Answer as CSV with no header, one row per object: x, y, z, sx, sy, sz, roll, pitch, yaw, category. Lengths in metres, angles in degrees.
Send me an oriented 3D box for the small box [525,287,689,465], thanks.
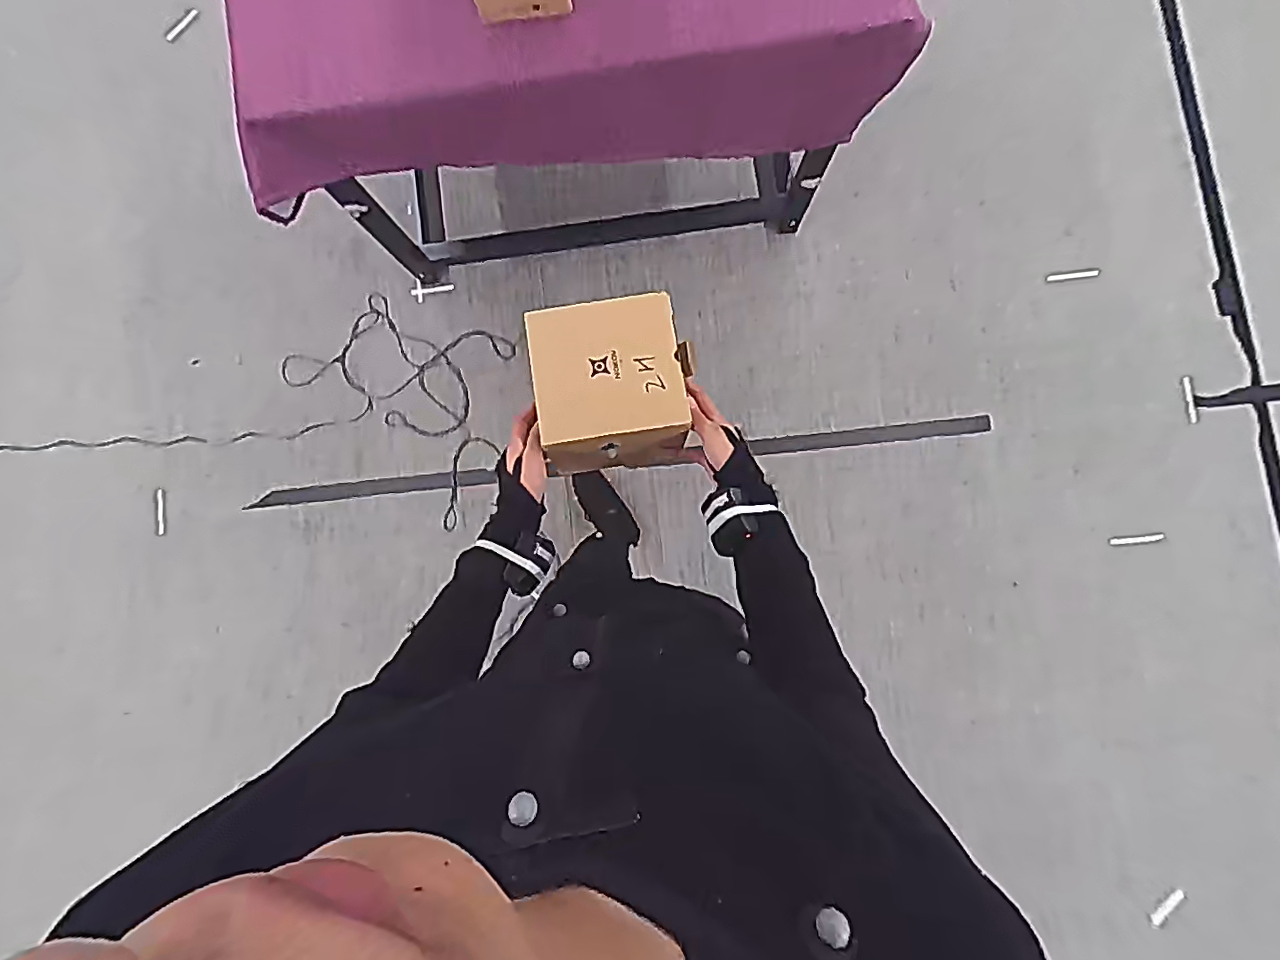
-0.040,-0.123,0.701,0.179,0.176,0.168,-8,80,-2,small box
